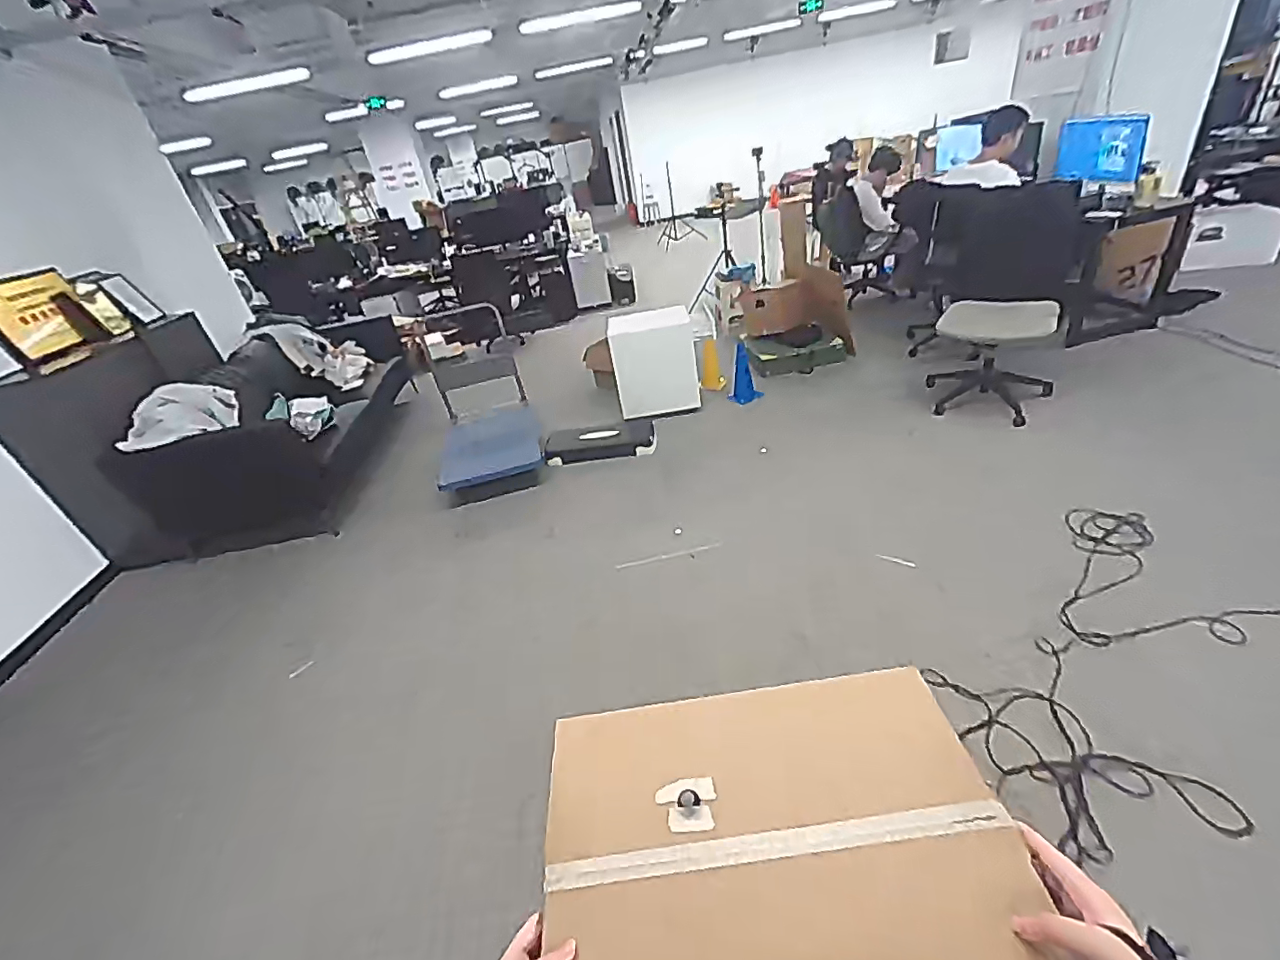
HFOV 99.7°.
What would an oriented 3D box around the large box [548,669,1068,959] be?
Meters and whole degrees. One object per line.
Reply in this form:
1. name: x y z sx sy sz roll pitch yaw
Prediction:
1. large box: 0.143 0.453 0.570 0.408 0.320 0.320 -11 34 3
